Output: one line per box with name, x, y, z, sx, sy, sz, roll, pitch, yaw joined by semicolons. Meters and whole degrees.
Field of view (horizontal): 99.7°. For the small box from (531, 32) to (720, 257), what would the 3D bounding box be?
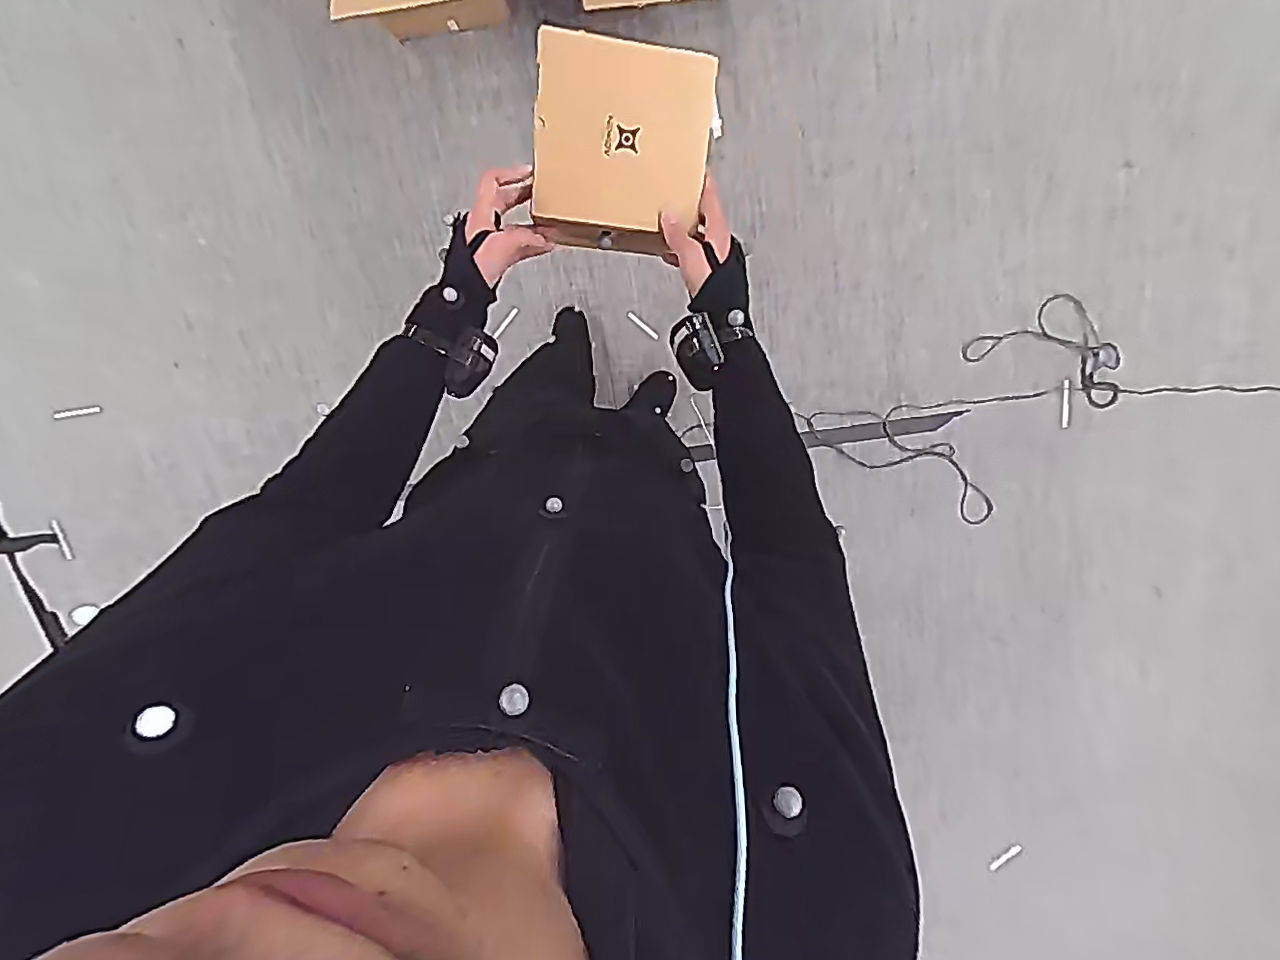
small box;-0.024;-0.354;0.609;0.179;0.176;0.168;4;105;-6
